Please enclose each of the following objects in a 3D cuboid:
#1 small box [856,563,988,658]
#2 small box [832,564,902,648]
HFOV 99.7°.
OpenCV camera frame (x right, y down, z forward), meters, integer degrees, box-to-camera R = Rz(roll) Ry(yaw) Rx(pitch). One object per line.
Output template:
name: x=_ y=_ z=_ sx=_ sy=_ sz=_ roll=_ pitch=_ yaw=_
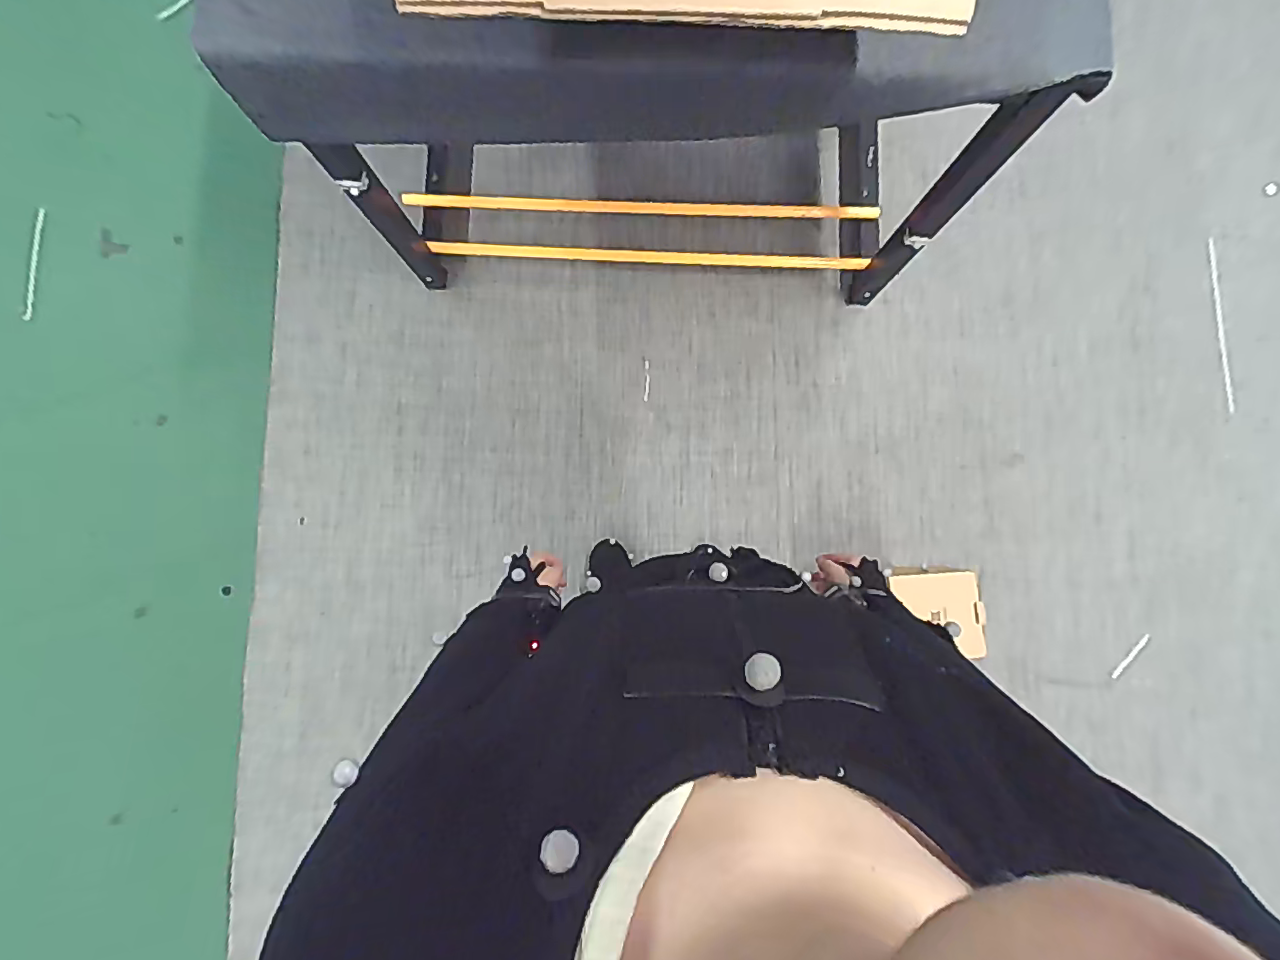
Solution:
small box: x=0.572 y=0.261 z=1.117 sx=0.179 sy=0.176 sz=0.168 roll=-4 pitch=83 yaw=0
small box: x=0.567 y=0.289 z=1.279 sx=0.168 sy=0.176 sz=0.179 roll=-4 pitch=84 yaw=0
